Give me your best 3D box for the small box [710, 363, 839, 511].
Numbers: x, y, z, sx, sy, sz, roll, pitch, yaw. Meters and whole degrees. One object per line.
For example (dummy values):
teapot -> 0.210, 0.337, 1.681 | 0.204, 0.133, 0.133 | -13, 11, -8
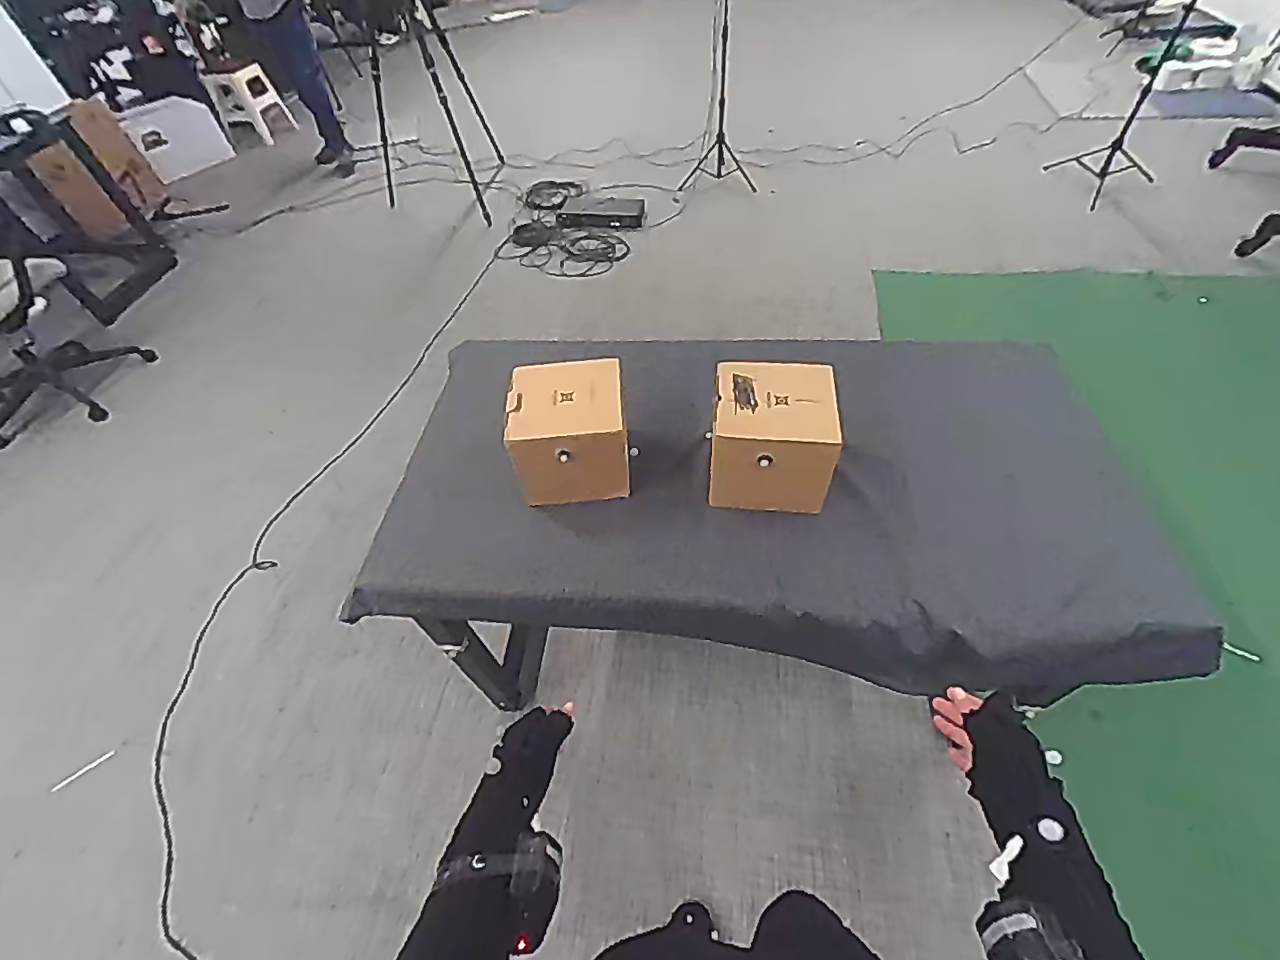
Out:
small box -> 0.203, -0.066, 0.858 | 0.179, 0.176, 0.168 | 4, 52, 7

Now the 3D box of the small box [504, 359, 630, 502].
small box -> -0.112, -0.077, 0.897 | 0.179, 0.176, 0.168 | -5, 53, 0
